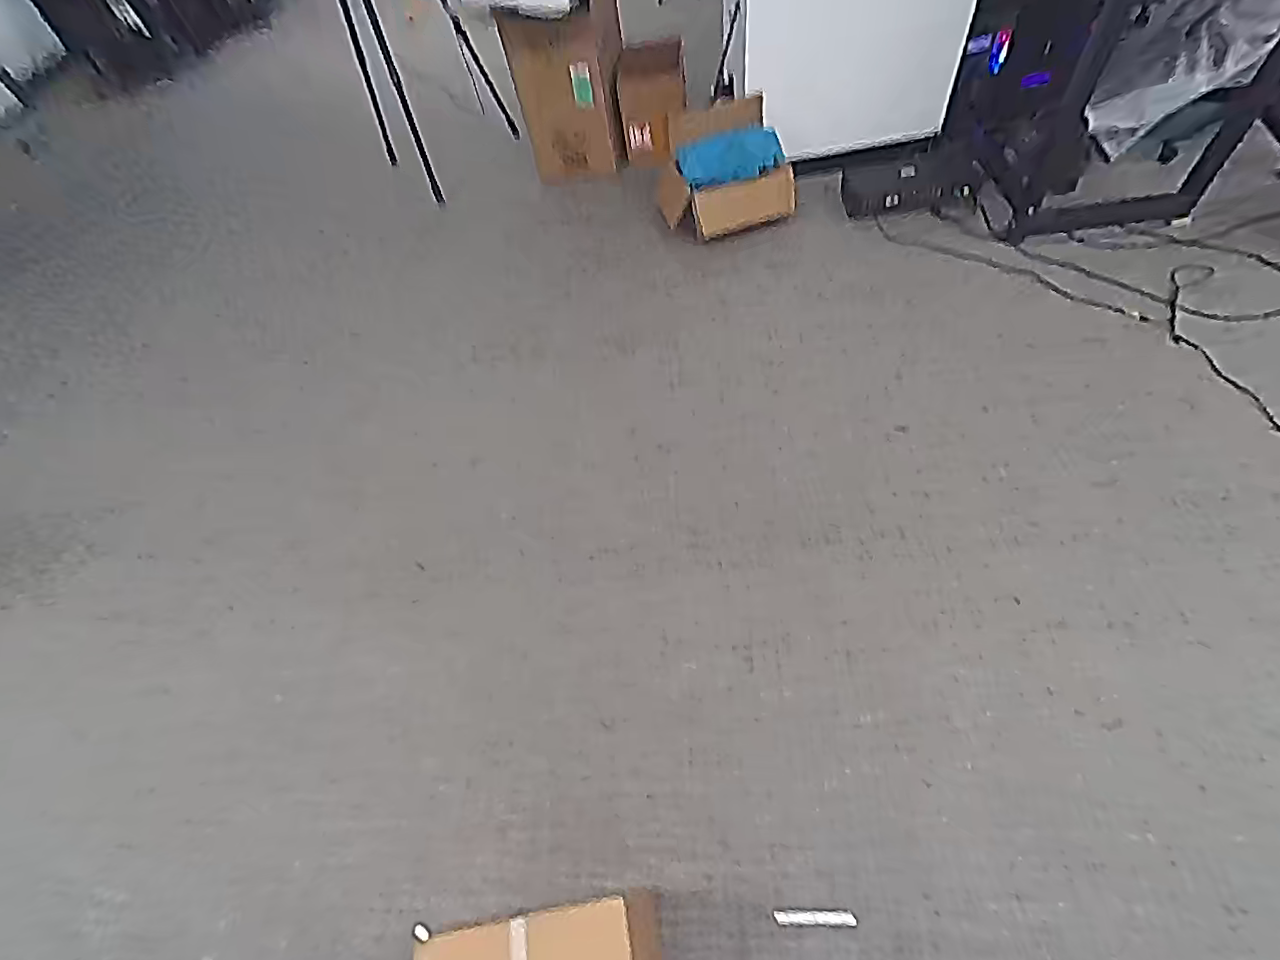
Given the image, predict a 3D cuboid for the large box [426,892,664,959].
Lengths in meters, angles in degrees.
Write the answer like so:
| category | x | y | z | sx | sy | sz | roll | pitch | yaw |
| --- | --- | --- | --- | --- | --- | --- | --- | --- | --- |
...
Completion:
| category | x | y | z | sx | sy | sz | roll | pitch | yaw |
| --- | --- | --- | --- | --- | --- | --- | --- | --- | --- |
| large box | -0.108 | 0.889 | 0.796 | 0.320 | 0.320 | 0.408 | -13 | 52 | 1 |
